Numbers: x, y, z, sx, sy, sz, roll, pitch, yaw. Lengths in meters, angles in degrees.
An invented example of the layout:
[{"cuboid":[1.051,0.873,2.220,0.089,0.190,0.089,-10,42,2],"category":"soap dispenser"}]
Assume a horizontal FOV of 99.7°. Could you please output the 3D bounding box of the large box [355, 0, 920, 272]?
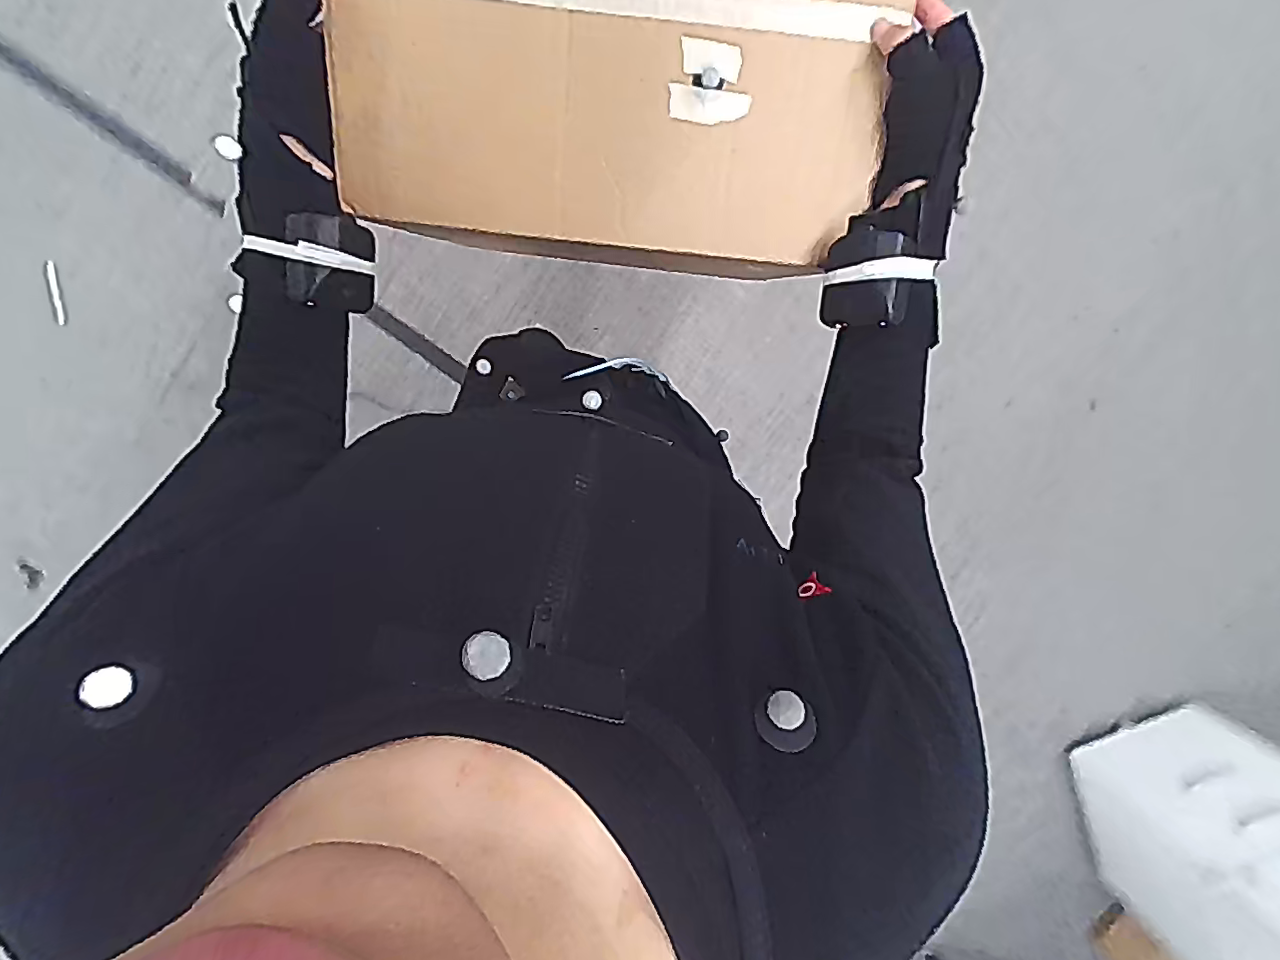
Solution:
[{"cuboid":[-0.005,-0.389,0.522,0.408,0.320,0.320,6,110,-4],"category":"large box"}]
